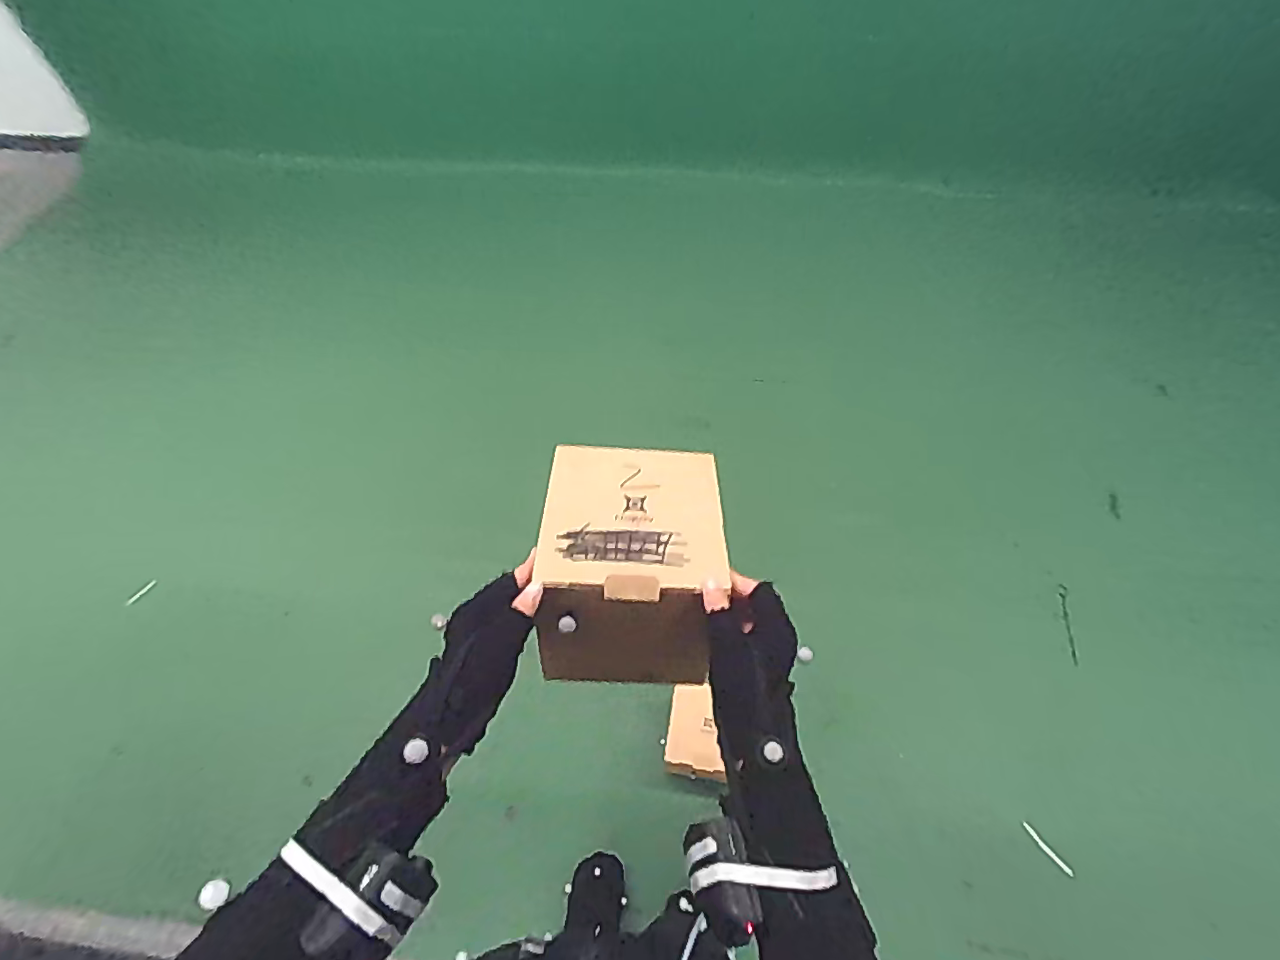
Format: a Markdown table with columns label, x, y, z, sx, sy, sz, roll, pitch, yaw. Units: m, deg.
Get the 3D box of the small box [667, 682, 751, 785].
| label | x | y | z | sx | sy | sz | roll | pitch | yaw |
| --- | --- | --- | --- | --- | --- | --- | --- | --- | --- |
| small box | 0.155 | 0.588 | 1.248 | 0.168 | 0.176 | 0.179 | 8 | 57 | 6 |
